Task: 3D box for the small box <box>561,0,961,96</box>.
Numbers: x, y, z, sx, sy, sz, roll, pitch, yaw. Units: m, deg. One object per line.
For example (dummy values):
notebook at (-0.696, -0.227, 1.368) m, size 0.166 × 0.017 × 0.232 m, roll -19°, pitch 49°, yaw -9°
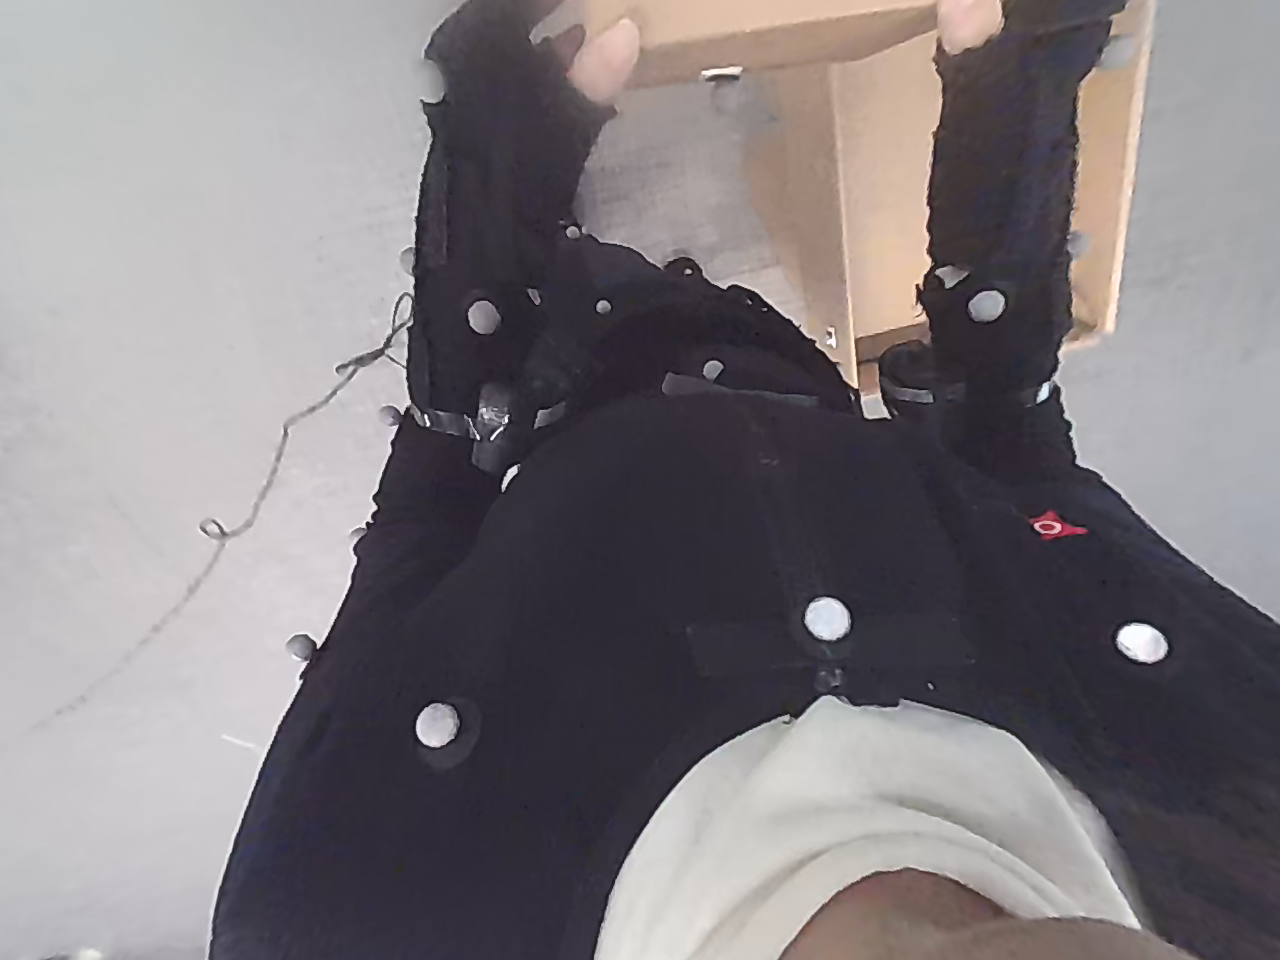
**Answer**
small box at (0.040, -0.290, 0.232) m, size 0.168 × 0.176 × 0.179 m, roll -7°, pitch 121°, yaw 3°
